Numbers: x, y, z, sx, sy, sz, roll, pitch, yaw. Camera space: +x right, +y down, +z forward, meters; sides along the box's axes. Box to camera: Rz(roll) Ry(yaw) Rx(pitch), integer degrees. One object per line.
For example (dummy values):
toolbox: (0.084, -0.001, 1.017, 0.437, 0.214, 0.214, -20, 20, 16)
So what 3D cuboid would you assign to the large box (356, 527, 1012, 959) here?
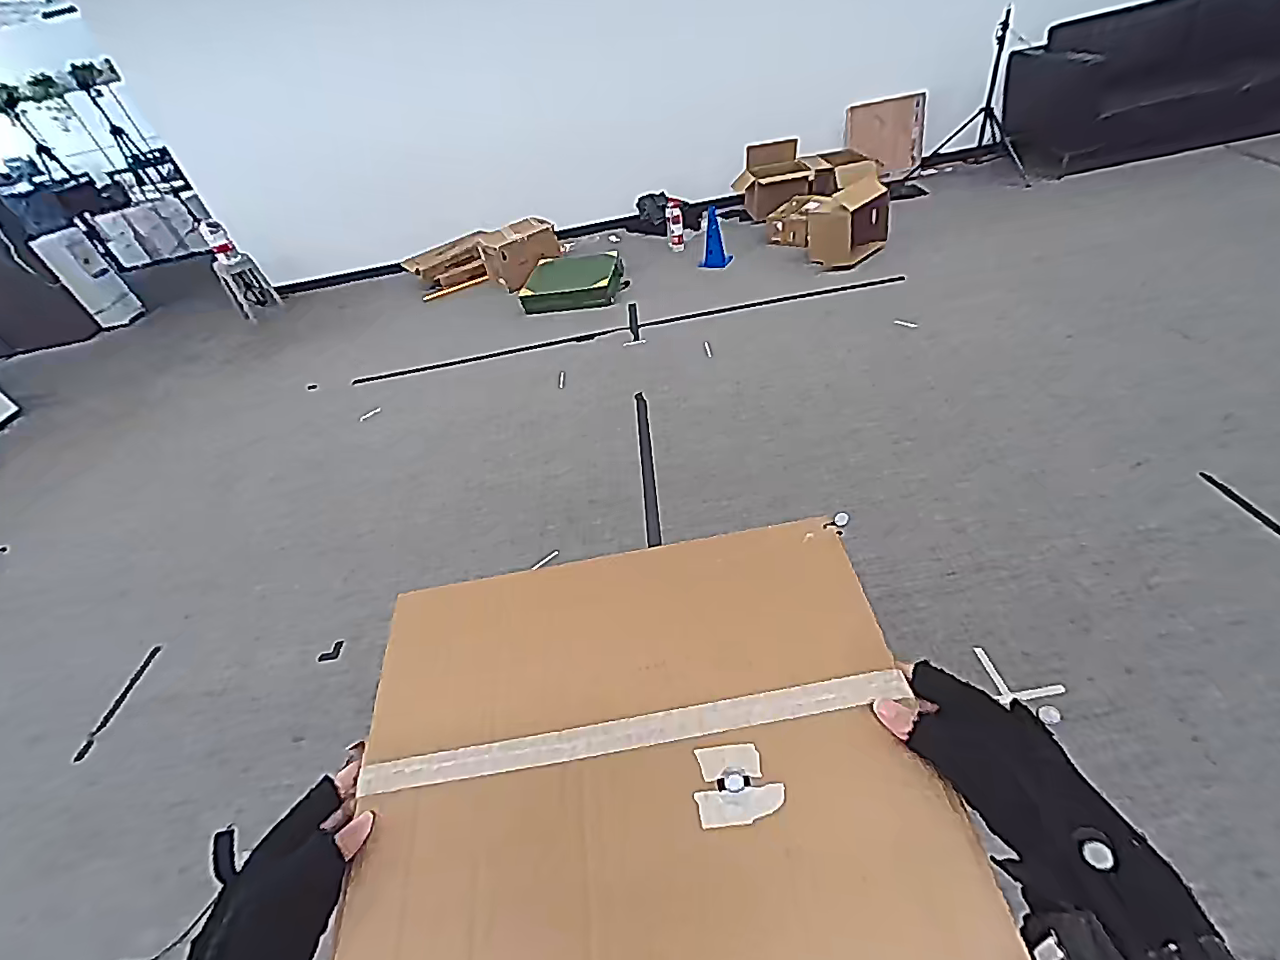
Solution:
large box: (0.019, 0.291, 0.518, 0.408, 0.320, 0.320, -11, 49, 1)
